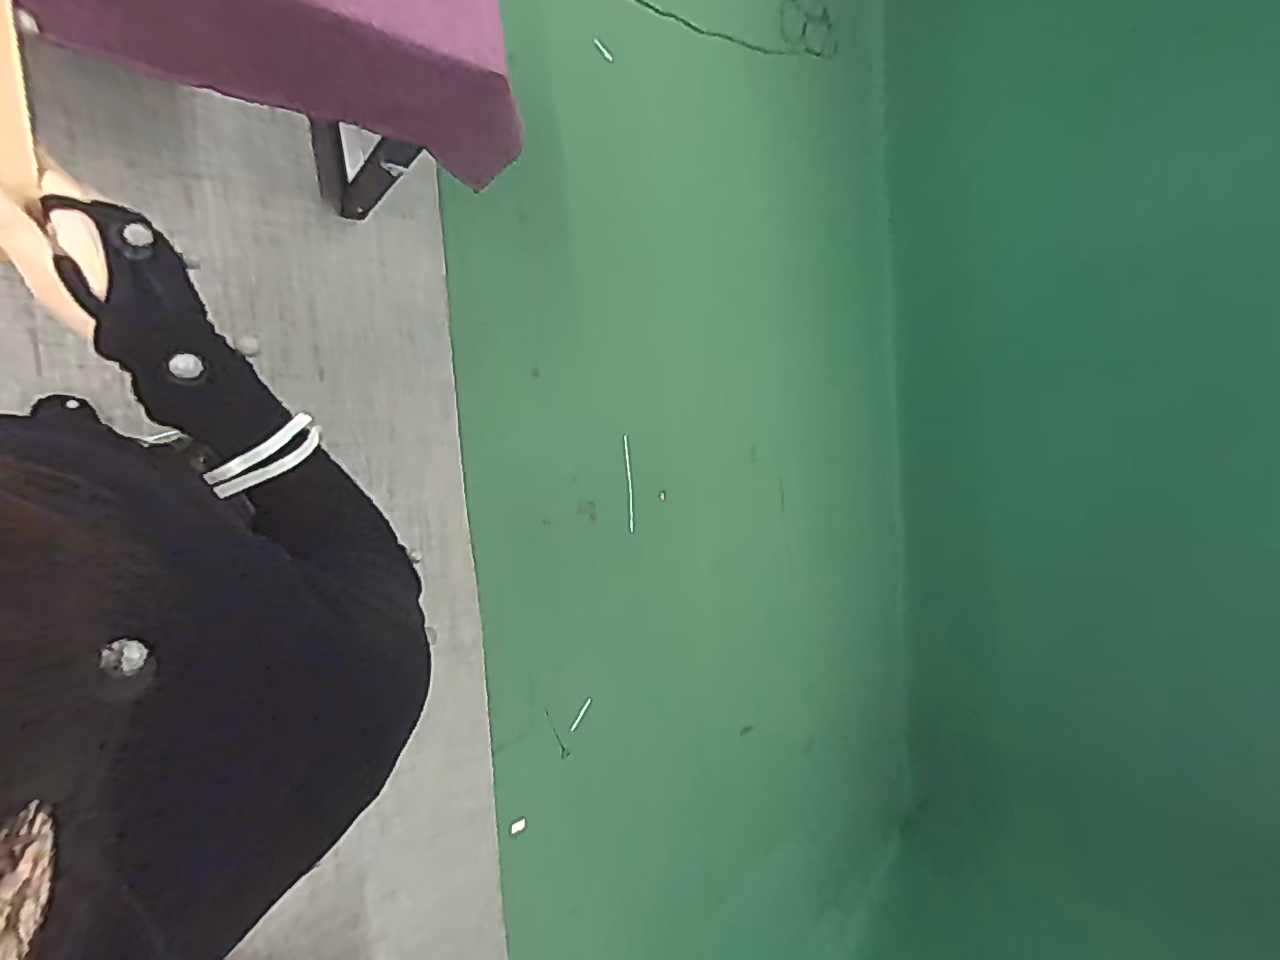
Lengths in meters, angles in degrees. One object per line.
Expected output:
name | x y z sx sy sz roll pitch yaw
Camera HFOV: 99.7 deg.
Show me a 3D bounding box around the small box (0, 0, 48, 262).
small box | -0.447 -0.218 0.270 0.168 0.176 0.179 -17 117 -56
